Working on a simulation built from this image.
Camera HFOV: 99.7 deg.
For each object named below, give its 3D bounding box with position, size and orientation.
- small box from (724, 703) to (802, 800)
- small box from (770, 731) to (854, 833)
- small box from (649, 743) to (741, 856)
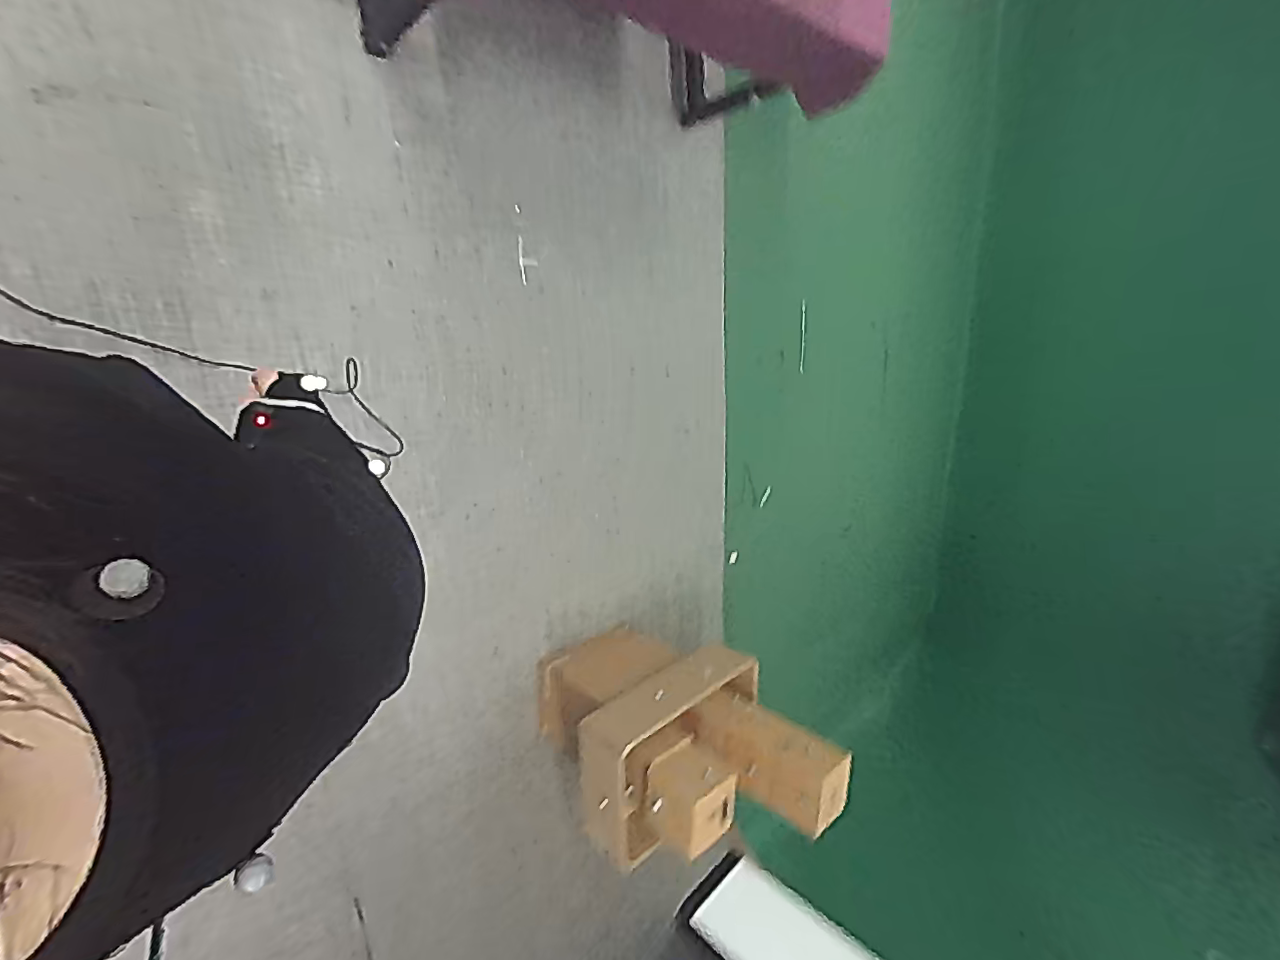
[{"bbox_3d":[0.375,0.829,1.669,0.168,0.176,0.179,-7,104,-43],"label":"small box"},{"bbox_3d":[0.491,0.852,1.554,0.168,0.176,0.179,-6,104,-42],"label":"small box"},{"bbox_3d":[0.147,0.844,1.452,0.179,0.176,0.168,-6,103,-43],"label":"small box"}]
